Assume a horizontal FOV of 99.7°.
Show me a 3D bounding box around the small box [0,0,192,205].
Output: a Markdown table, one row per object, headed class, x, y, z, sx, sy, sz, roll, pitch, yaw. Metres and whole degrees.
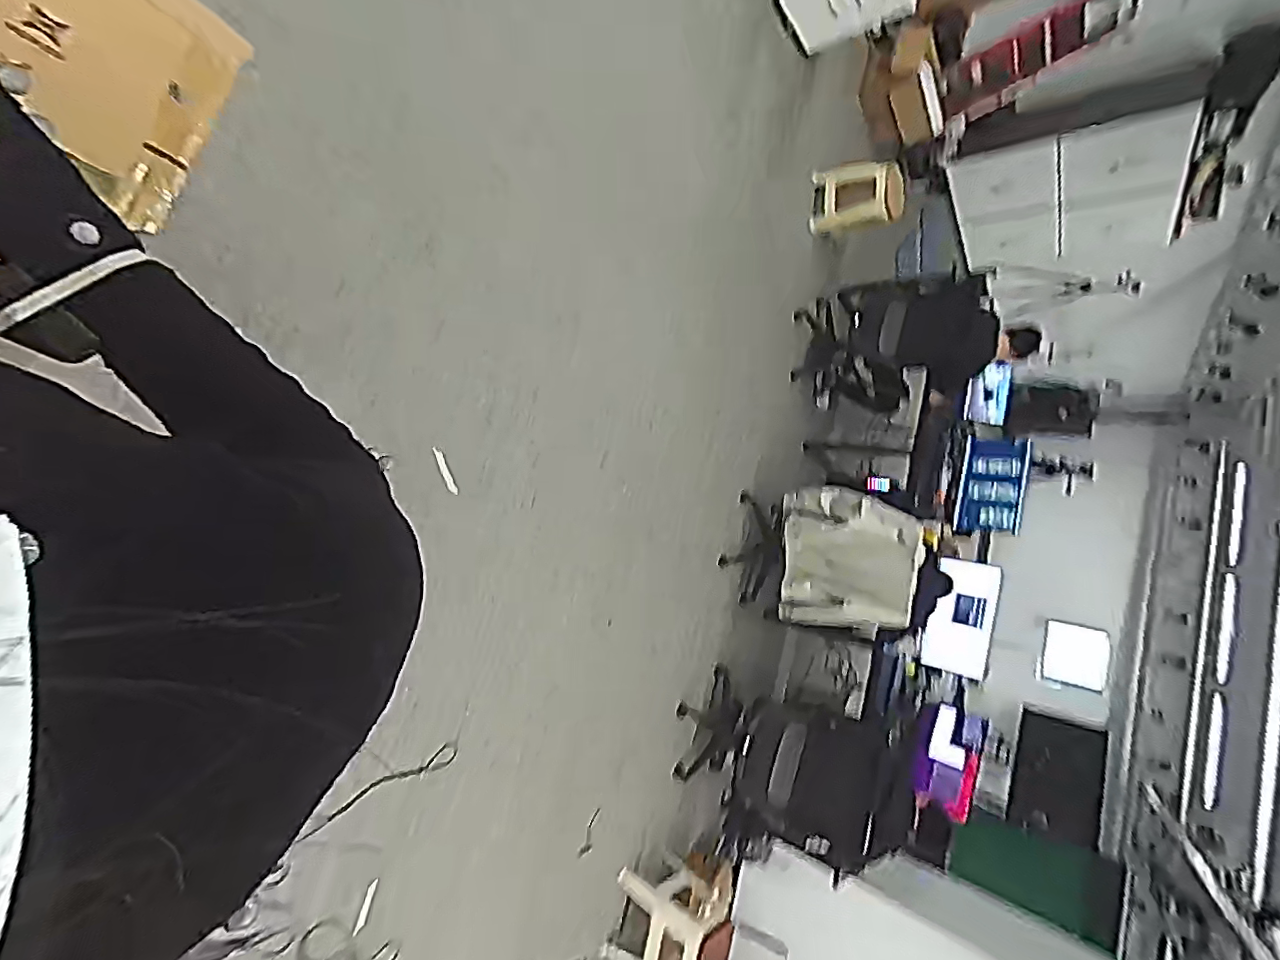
| class | x | y | z | sx | sy | sz | roll | pitch | yaw |
| --- | --- | --- | --- | --- | --- | --- | --- | --- | --- |
| small box | -0.586 | -0.407 | 0.527 | 0.168 | 0.176 | 0.179 | 27 | 77 | -47 |
